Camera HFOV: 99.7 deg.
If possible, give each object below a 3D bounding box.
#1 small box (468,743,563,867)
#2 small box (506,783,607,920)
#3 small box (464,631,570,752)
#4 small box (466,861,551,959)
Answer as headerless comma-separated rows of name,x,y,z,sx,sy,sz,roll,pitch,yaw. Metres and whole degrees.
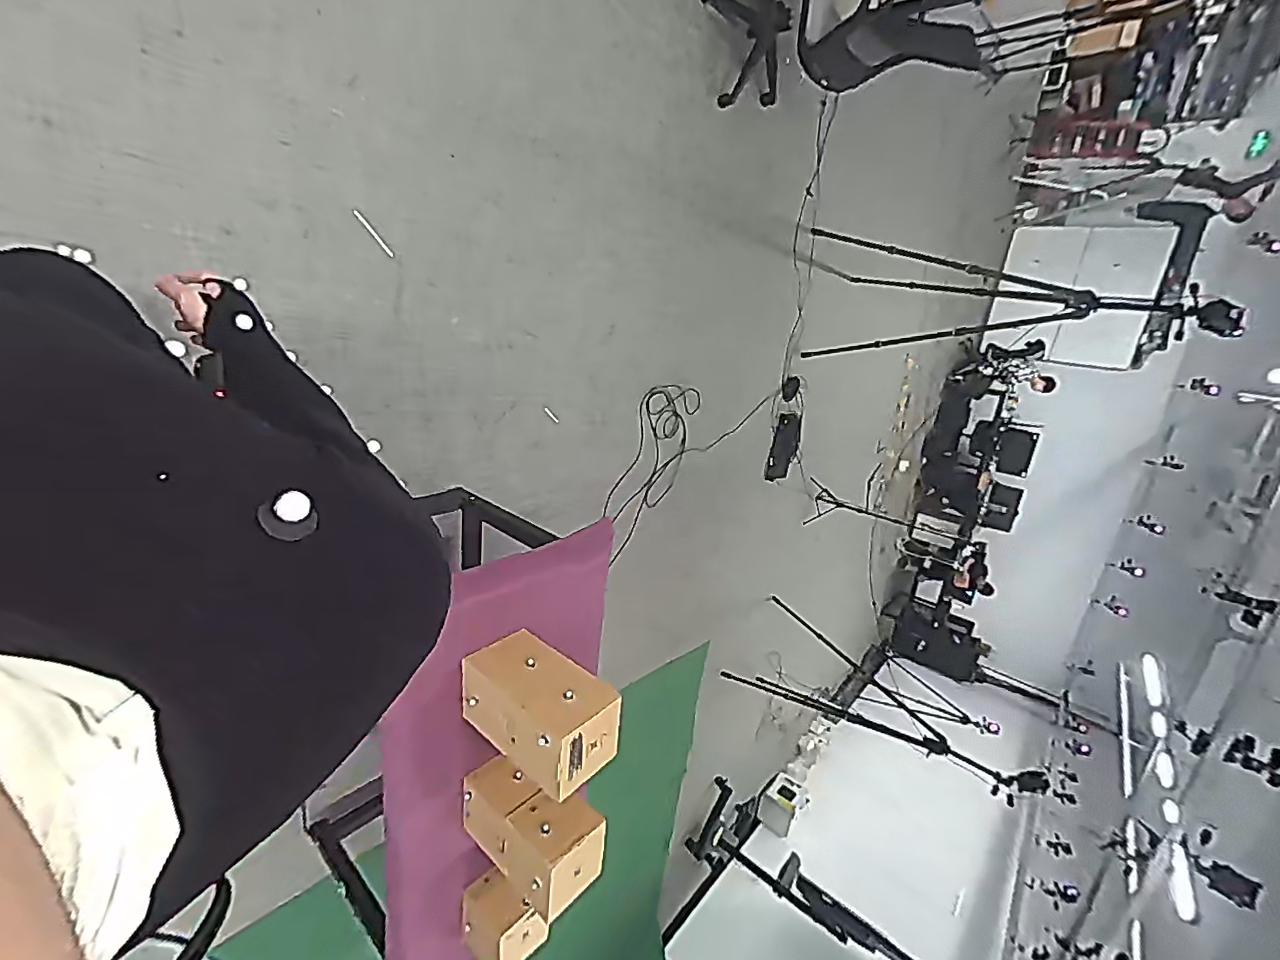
small box,-0.318,0.807,1.364,0.179,0.176,0.168,-15,117,-49
small box,-0.197,0.850,1.264,0.168,0.176,0.179,-14,117,-47
small box,-0.286,0.478,1.256,0.179,0.176,0.168,-16,118,-47
small box,-0.359,1.179,1.476,0.168,0.176,0.179,-13,115,-49
